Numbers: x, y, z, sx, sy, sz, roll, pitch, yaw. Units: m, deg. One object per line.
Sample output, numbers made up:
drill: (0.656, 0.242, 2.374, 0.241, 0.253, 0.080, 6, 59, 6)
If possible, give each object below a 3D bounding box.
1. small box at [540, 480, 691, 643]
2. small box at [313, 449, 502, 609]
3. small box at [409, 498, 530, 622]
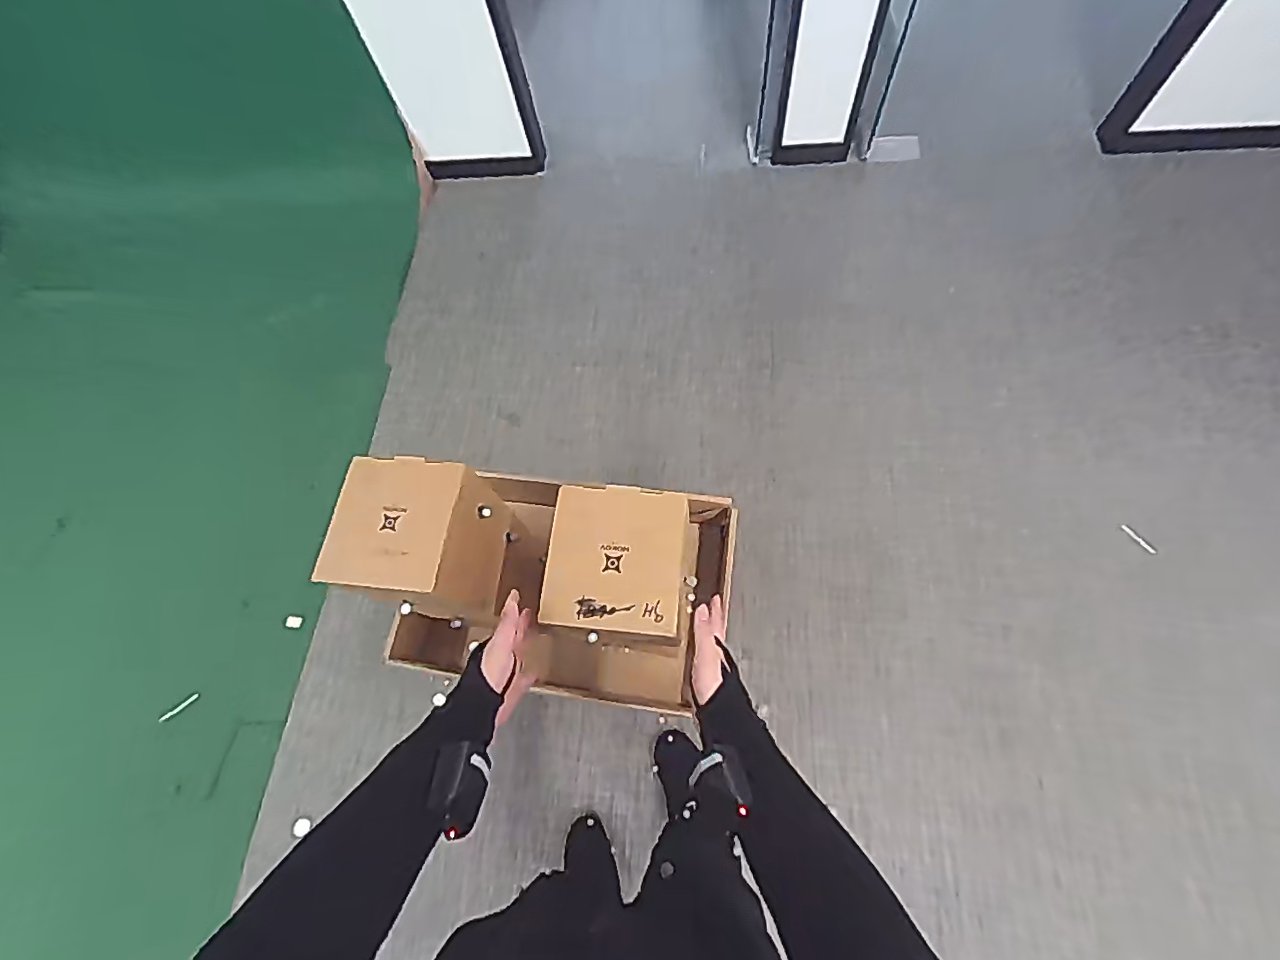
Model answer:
small box: (-0.022, 0.115, 0.726, 0.168, 0.176, 0.179, 4, 70, 7)
small box: (-0.311, 0.075, 0.768, 0.168, 0.176, 0.179, 5, 68, 8)
small box: (-0.296, 0.134, 0.919, 0.168, 0.176, 0.179, 4, 69, 8)
